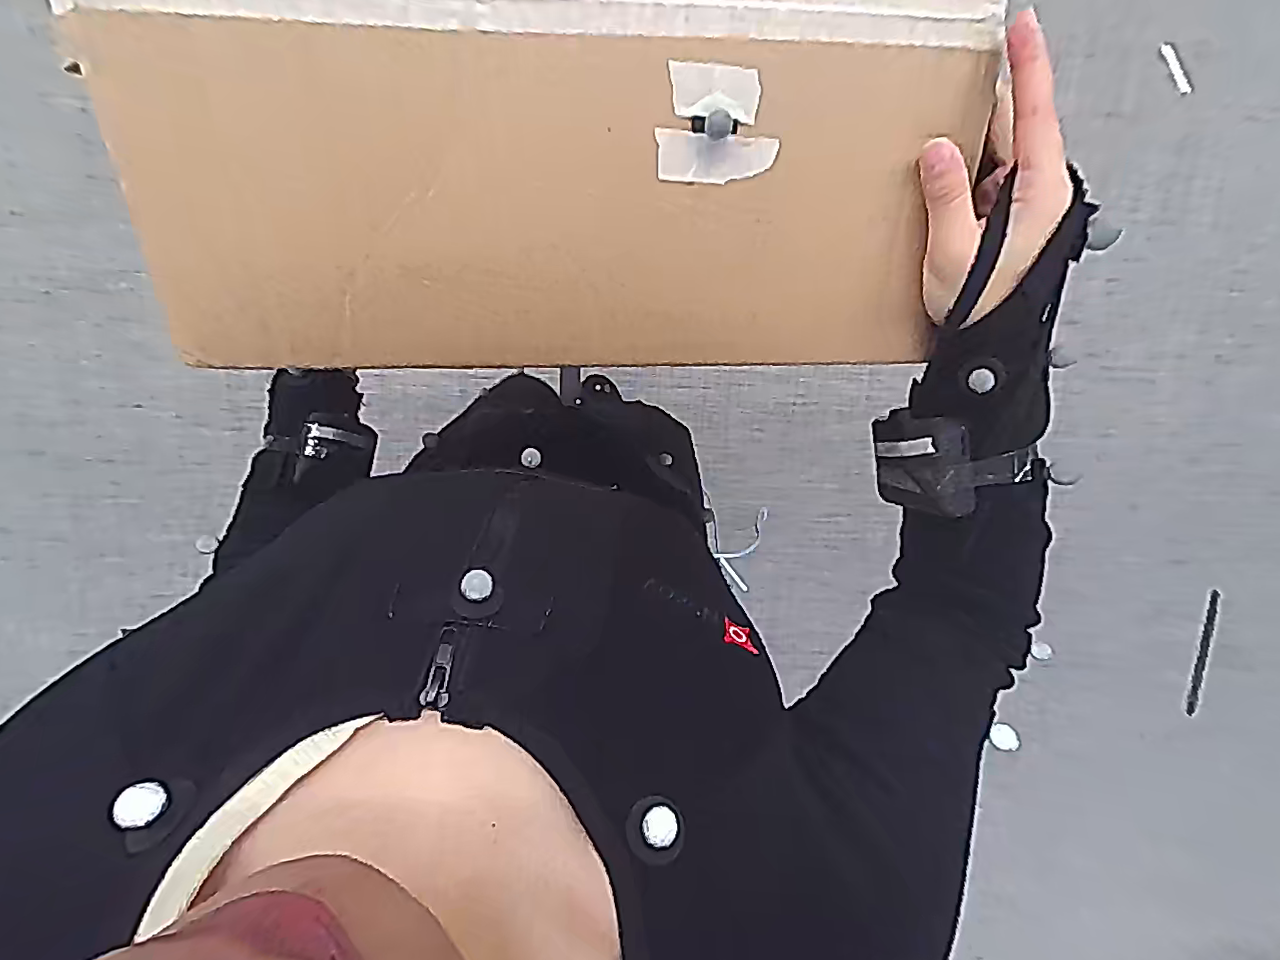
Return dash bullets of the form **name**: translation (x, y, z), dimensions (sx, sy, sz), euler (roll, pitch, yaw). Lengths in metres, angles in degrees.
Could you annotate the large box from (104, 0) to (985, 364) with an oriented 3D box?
- **large box**: translation (-0.048, -0.269, 0.384), dimensions (0.408, 0.320, 0.320), euler (-2, 113, -6)
